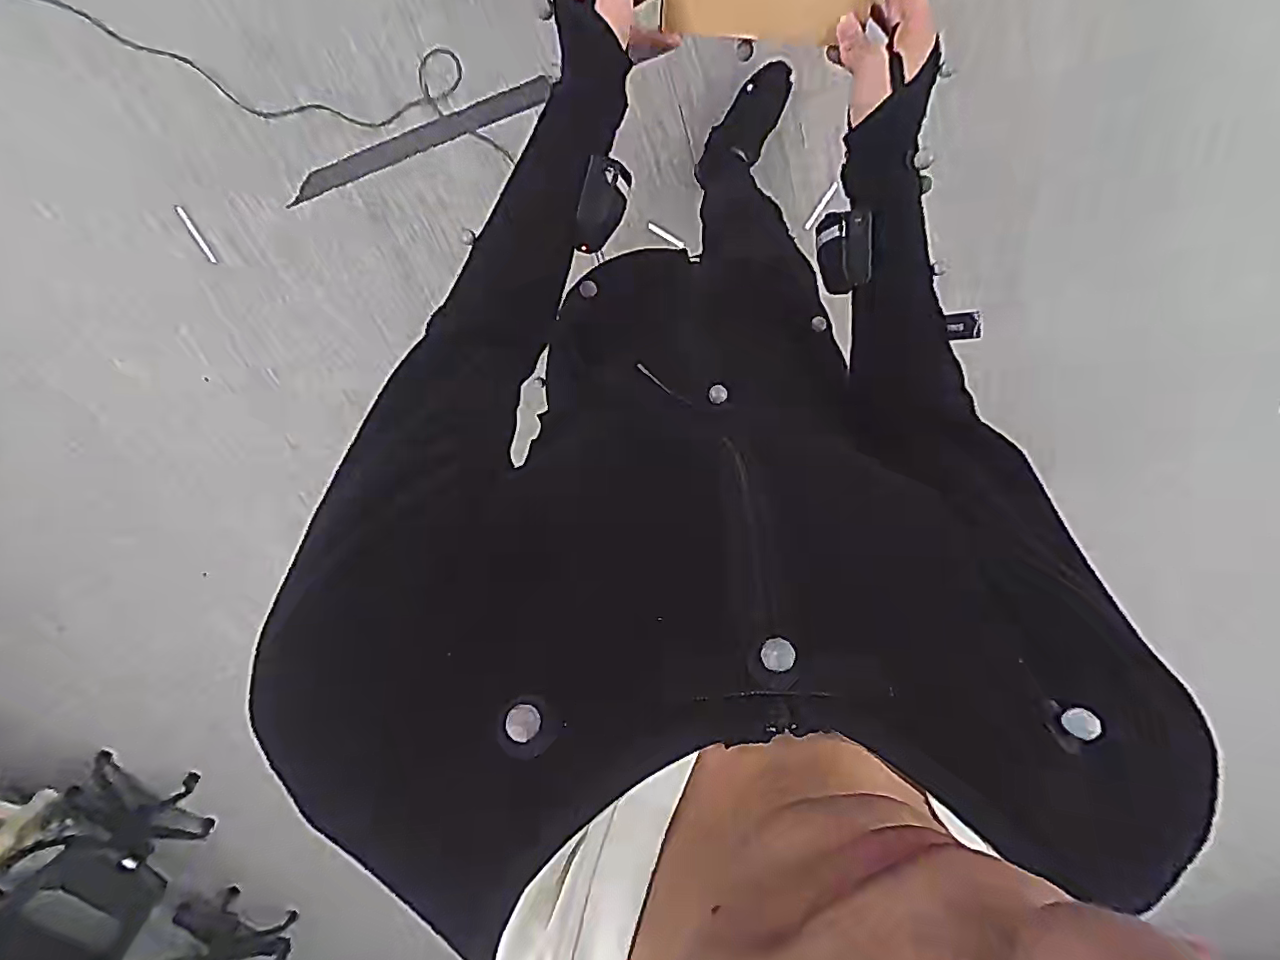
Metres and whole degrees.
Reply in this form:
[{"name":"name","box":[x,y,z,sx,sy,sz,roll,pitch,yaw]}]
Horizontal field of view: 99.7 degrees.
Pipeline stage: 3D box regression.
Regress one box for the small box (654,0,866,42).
[{"name":"small box","box":[0.107,-0.495,0.464,0.179,0.176,0.168,5,132,0]}]
